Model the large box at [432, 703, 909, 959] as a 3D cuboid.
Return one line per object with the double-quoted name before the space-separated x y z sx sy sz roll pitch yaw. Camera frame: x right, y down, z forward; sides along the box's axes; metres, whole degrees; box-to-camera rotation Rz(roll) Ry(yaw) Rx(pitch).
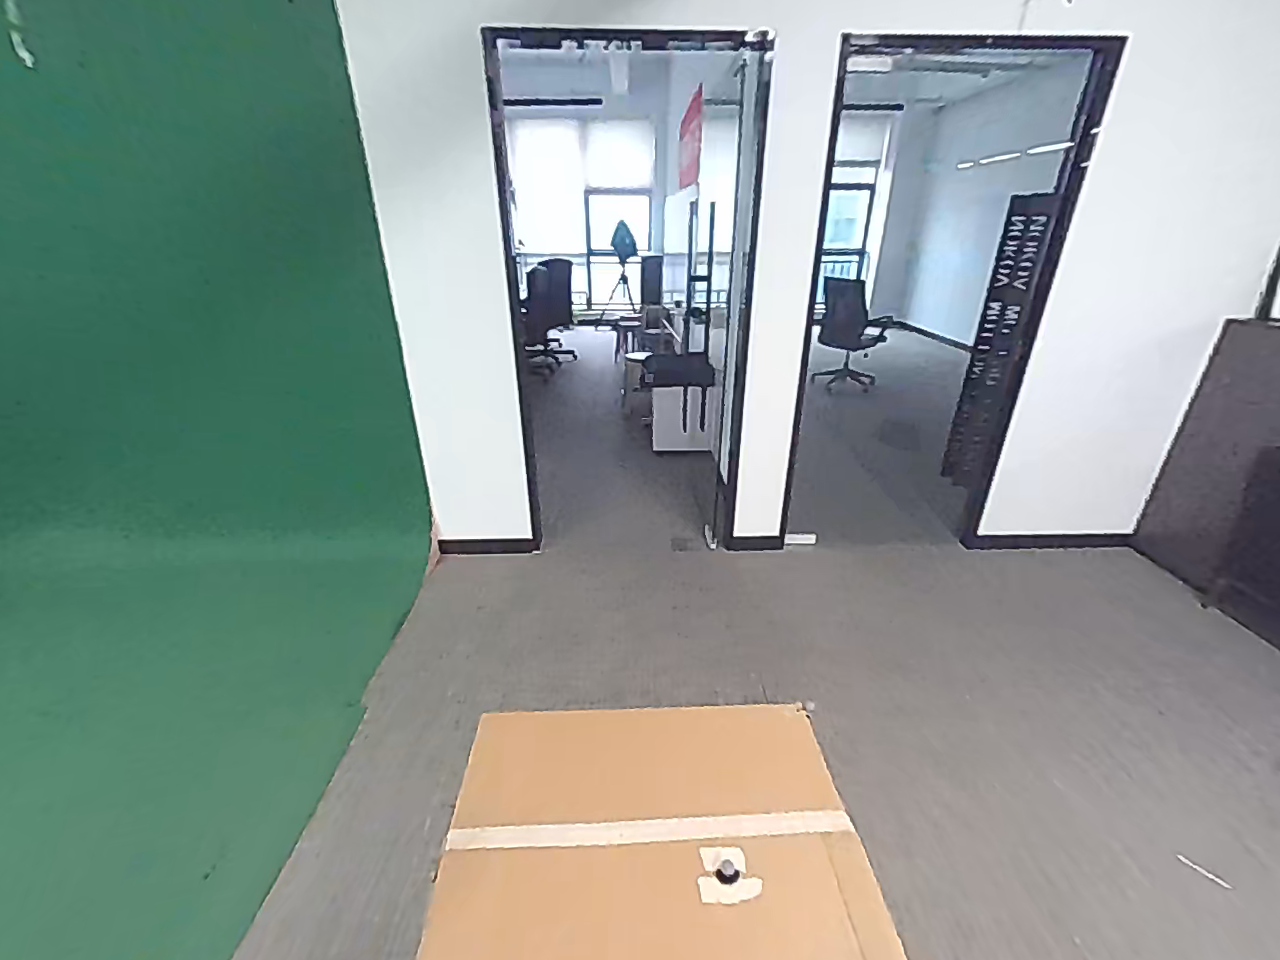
"large box" 0.014 0.489 0.607 0.408 0.320 0.320 0 25 -3
